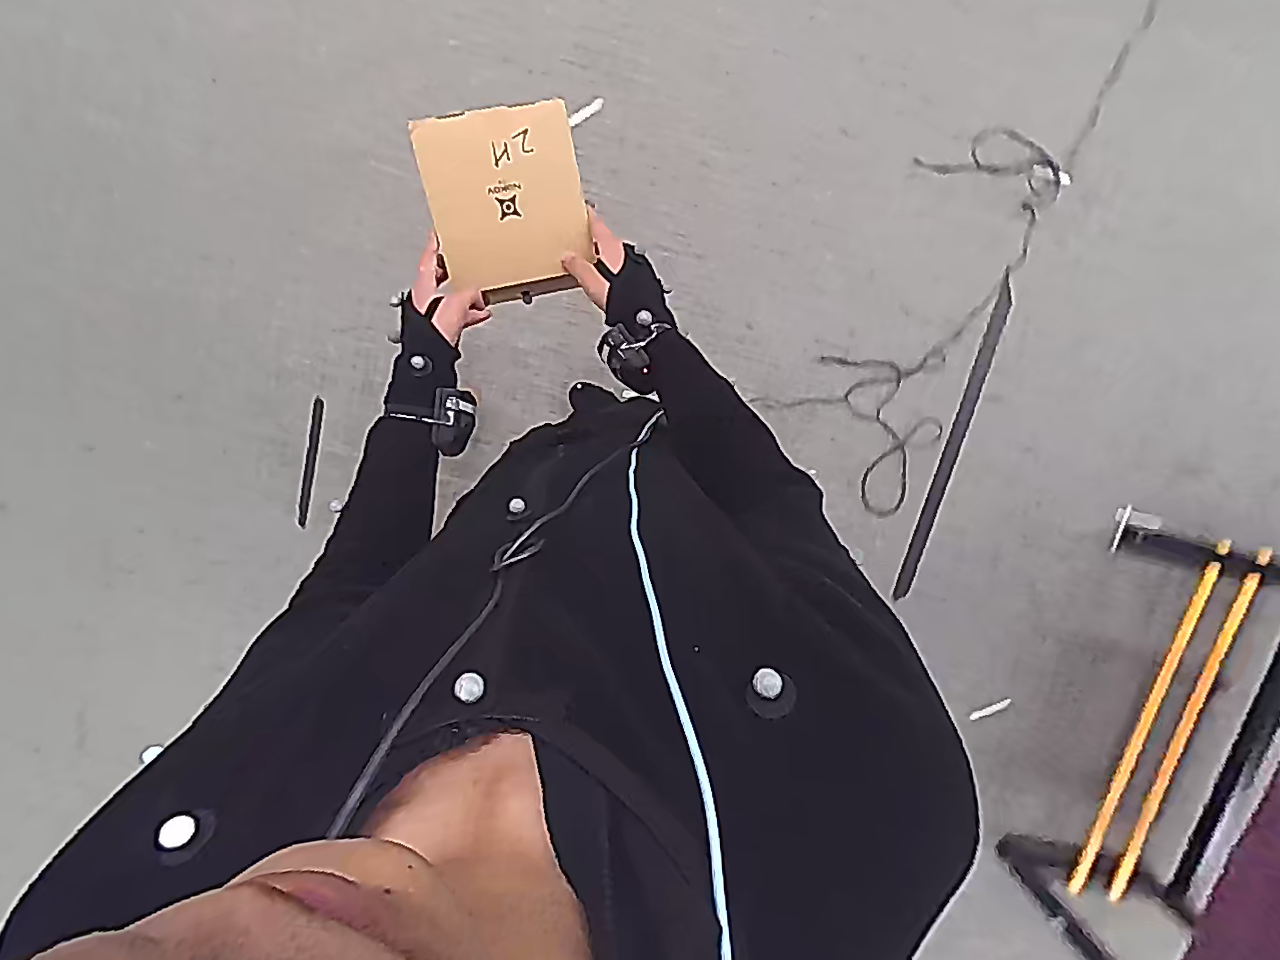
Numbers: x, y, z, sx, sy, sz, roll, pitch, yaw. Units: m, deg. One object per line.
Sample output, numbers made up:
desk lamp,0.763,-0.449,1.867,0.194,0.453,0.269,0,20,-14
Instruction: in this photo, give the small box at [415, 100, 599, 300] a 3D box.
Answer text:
small box,-0.150,-0.321,0.657,0.168,0.176,0.179,-12,105,-7
